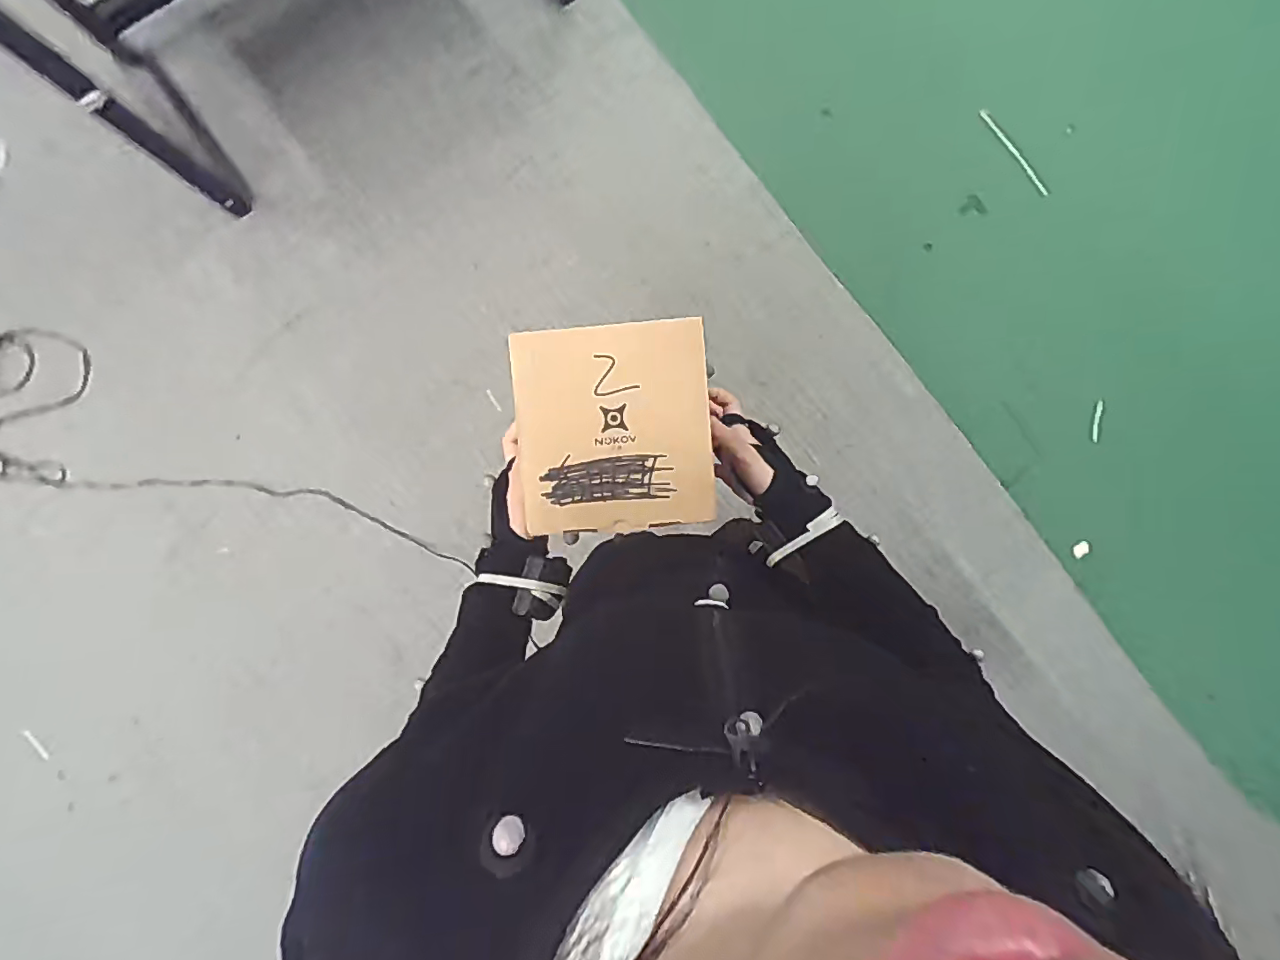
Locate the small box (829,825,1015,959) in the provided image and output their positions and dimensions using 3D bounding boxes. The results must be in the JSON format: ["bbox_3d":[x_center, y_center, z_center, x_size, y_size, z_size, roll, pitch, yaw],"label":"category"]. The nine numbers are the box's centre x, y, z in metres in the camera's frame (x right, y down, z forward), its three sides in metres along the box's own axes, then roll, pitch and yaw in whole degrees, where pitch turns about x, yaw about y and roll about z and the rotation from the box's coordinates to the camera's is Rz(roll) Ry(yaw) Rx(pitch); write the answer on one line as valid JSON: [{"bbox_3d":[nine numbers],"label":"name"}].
[{"bbox_3d":[0.416,0.666,0.794,0.168,0.176,0.179,-36,89,-3],"label":"small box"}]
